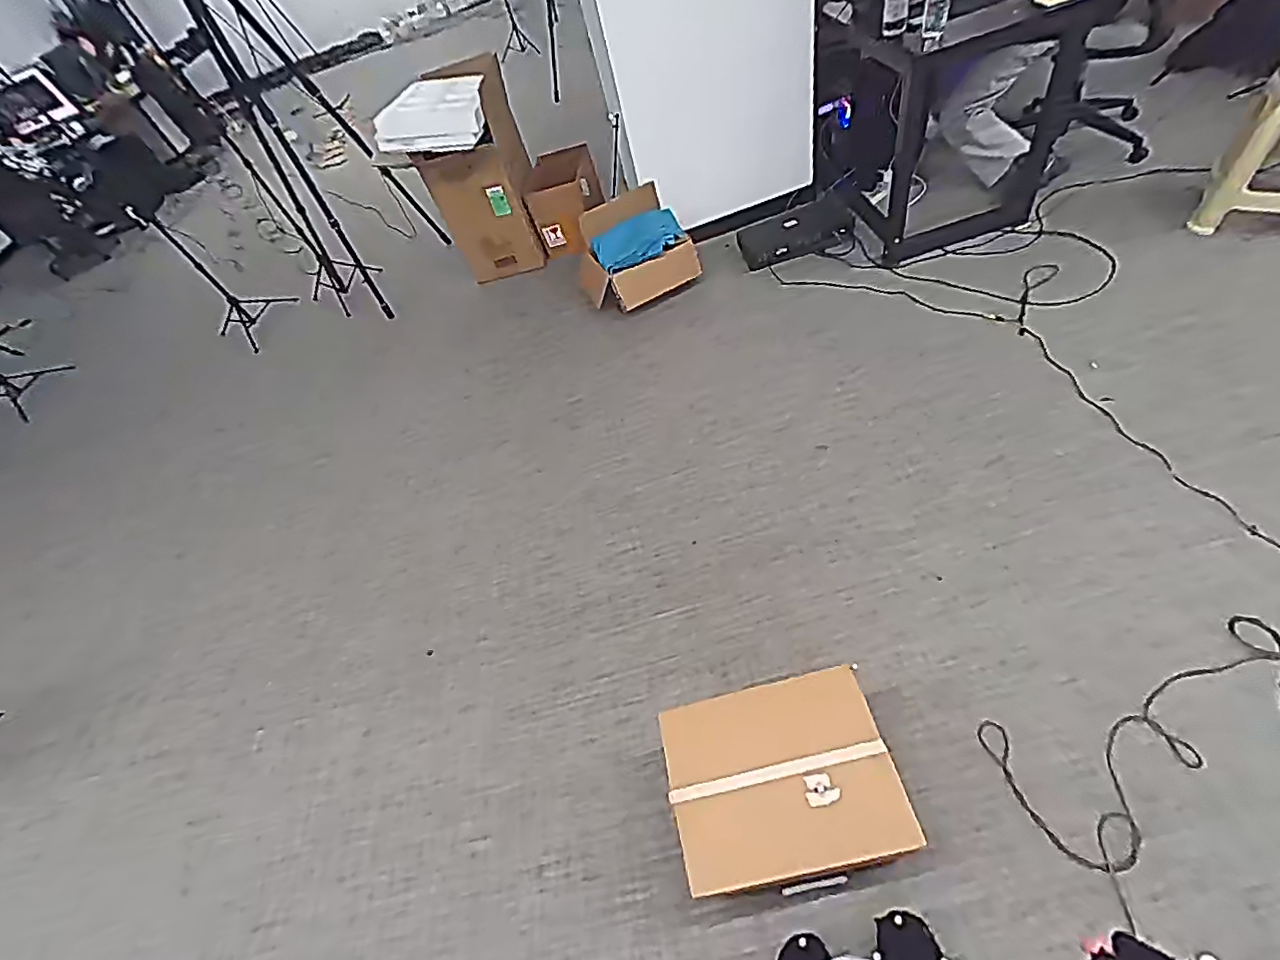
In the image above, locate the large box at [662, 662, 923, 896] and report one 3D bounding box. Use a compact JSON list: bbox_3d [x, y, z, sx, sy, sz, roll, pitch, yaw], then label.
[{"bbox_3d":[0.292,0.627,1.120,0.408,0.320,0.320,-16,51,4],"label":"large box"}]
